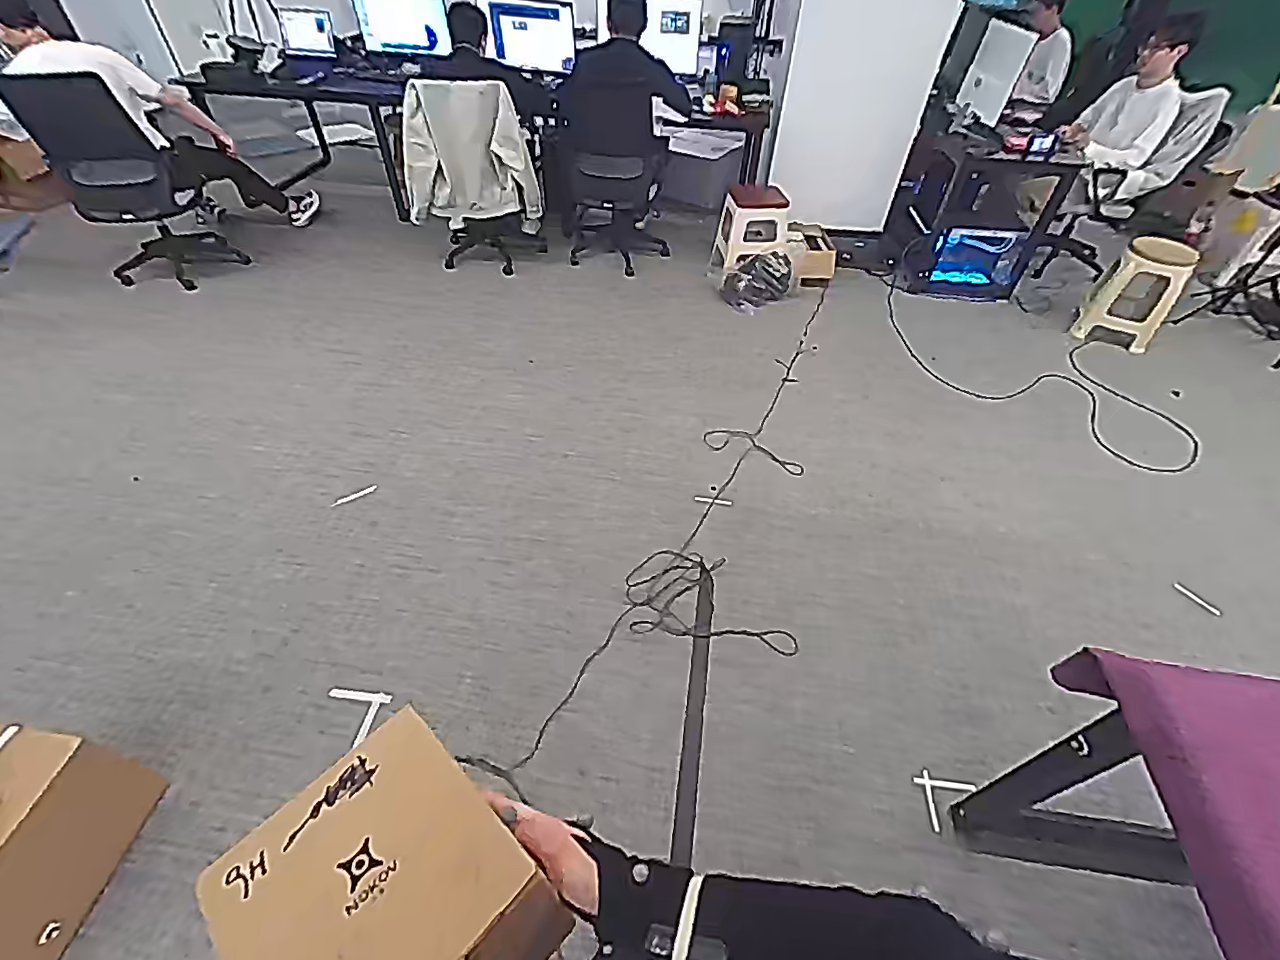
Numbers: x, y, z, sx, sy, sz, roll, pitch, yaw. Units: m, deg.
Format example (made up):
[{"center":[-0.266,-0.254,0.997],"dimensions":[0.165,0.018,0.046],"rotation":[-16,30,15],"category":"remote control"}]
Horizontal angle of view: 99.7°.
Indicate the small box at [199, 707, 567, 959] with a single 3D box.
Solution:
[{"center":[-0.176,0.322,0.414],"dimensions":[0.179,0.176,0.168],"rotation":[30,52,32],"category":"small box"}]
